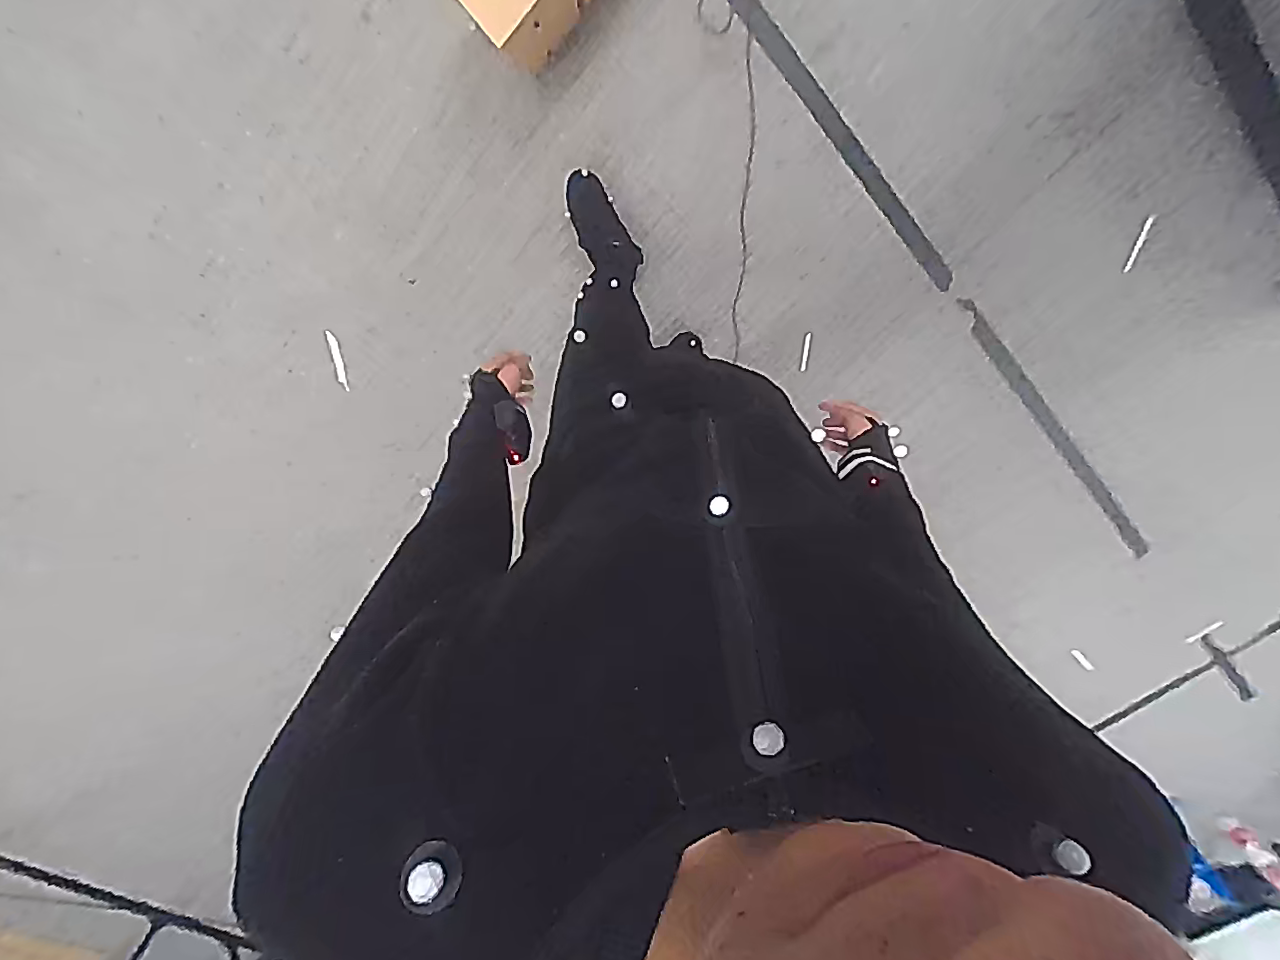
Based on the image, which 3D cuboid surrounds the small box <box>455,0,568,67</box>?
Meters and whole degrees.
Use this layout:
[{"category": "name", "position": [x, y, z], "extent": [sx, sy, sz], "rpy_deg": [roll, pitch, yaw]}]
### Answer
[{"category": "small box", "position": [-0.242, -0.895, 0.969], "extent": [0.179, 0.176, 0.168], "rpy_deg": [-39, 111, 18]}]
